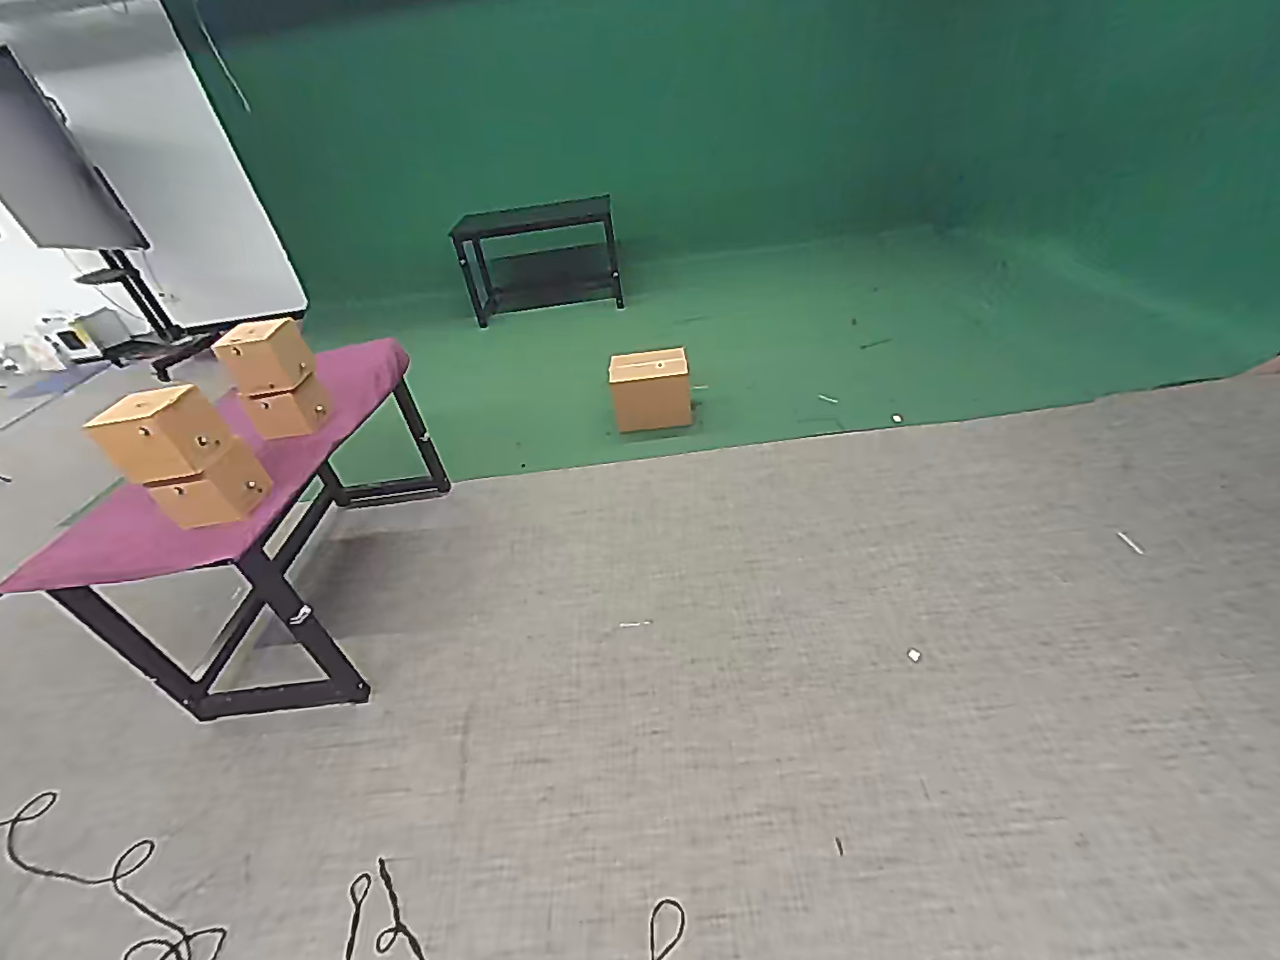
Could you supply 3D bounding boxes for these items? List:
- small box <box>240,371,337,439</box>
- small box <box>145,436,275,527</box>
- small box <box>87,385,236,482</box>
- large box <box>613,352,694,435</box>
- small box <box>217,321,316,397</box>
[{"bbox_3d":[-1.153,-0.249,1.788,0.179,0.176,0.168,-6,37,4],"label":"small box"},{"bbox_3d":[-1.132,0.008,1.438,0.179,0.176,0.168,-9,37,3],"label":"small box"},{"bbox_3d":[-1.162,-0.110,1.330,0.179,0.176,0.168,-9,36,3],"label":"small box"},{"bbox_3d":[0.072,-0.463,2.908,0.408,0.320,0.320,-5,37,4],"label":"large box"},{"bbox_3d":[-1.147,-0.377,1.683,0.168,0.176,0.179,-8,37,1],"label":"small box"}]
